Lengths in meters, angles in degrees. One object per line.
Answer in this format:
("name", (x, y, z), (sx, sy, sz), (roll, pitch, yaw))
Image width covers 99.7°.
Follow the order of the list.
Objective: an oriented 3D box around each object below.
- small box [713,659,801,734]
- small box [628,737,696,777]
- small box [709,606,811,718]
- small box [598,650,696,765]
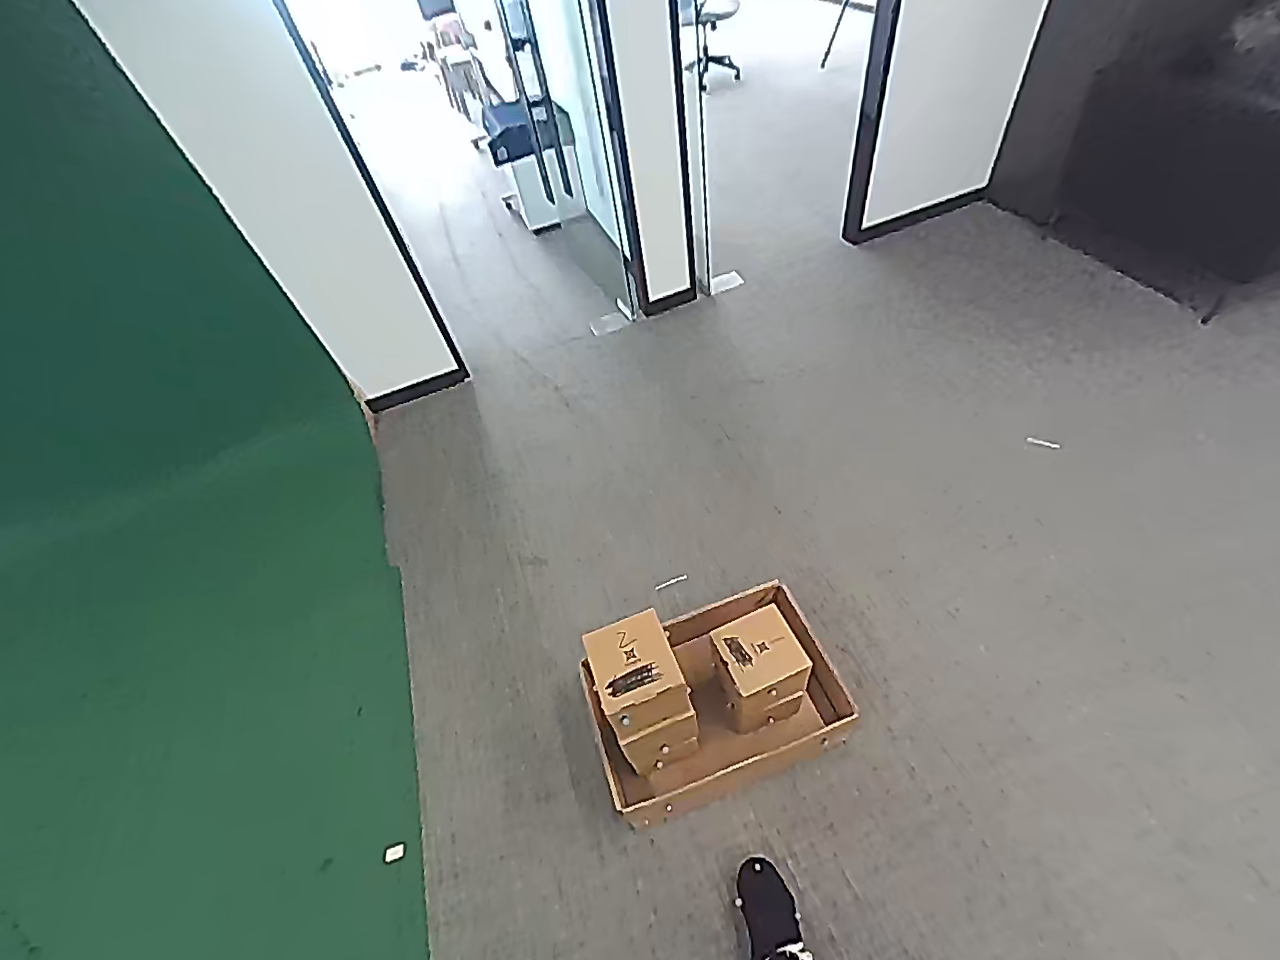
("small box", (0.302, 0.537, 1.403), (0.168, 0.176, 0.179), (-19, 50, -4))
("small box", (0.037, 0.630, 1.372), (0.168, 0.176, 0.179), (-19, 49, -6))
("small box", (0.278, 0.433, 1.275), (0.179, 0.176, 0.168), (-21, 51, -8))
("small box", (0.019, 0.526, 1.246), (0.179, 0.176, 0.168), (-19, 49, -8))
